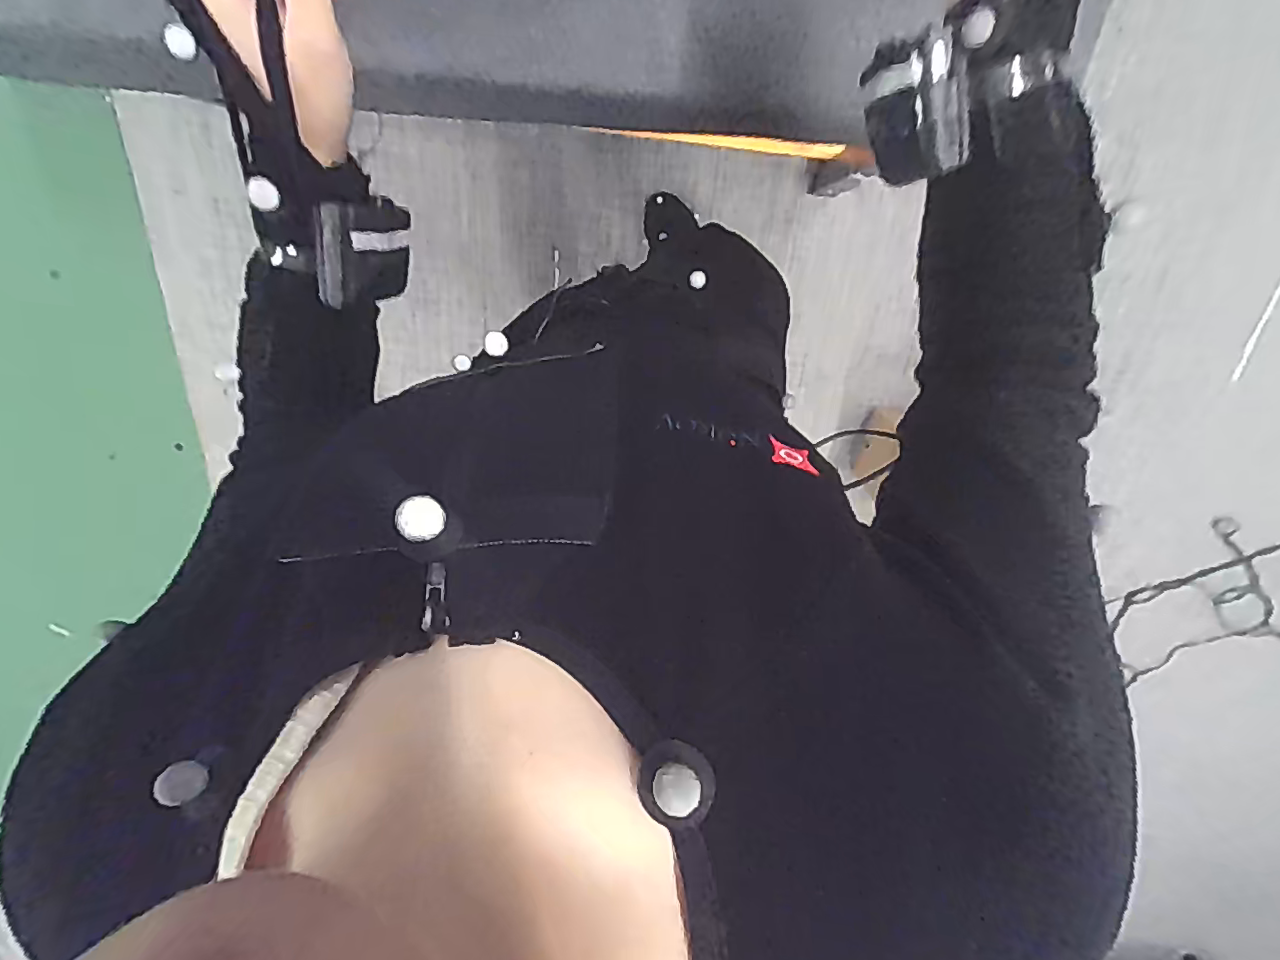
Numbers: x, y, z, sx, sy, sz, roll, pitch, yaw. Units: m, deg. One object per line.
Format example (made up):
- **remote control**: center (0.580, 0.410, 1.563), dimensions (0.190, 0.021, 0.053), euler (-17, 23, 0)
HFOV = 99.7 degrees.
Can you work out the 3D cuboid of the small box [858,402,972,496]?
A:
- **small box**: center (0.620, -0.063, 1.243), dimensions (0.168, 0.176, 0.179), euler (10, 115, 2)
